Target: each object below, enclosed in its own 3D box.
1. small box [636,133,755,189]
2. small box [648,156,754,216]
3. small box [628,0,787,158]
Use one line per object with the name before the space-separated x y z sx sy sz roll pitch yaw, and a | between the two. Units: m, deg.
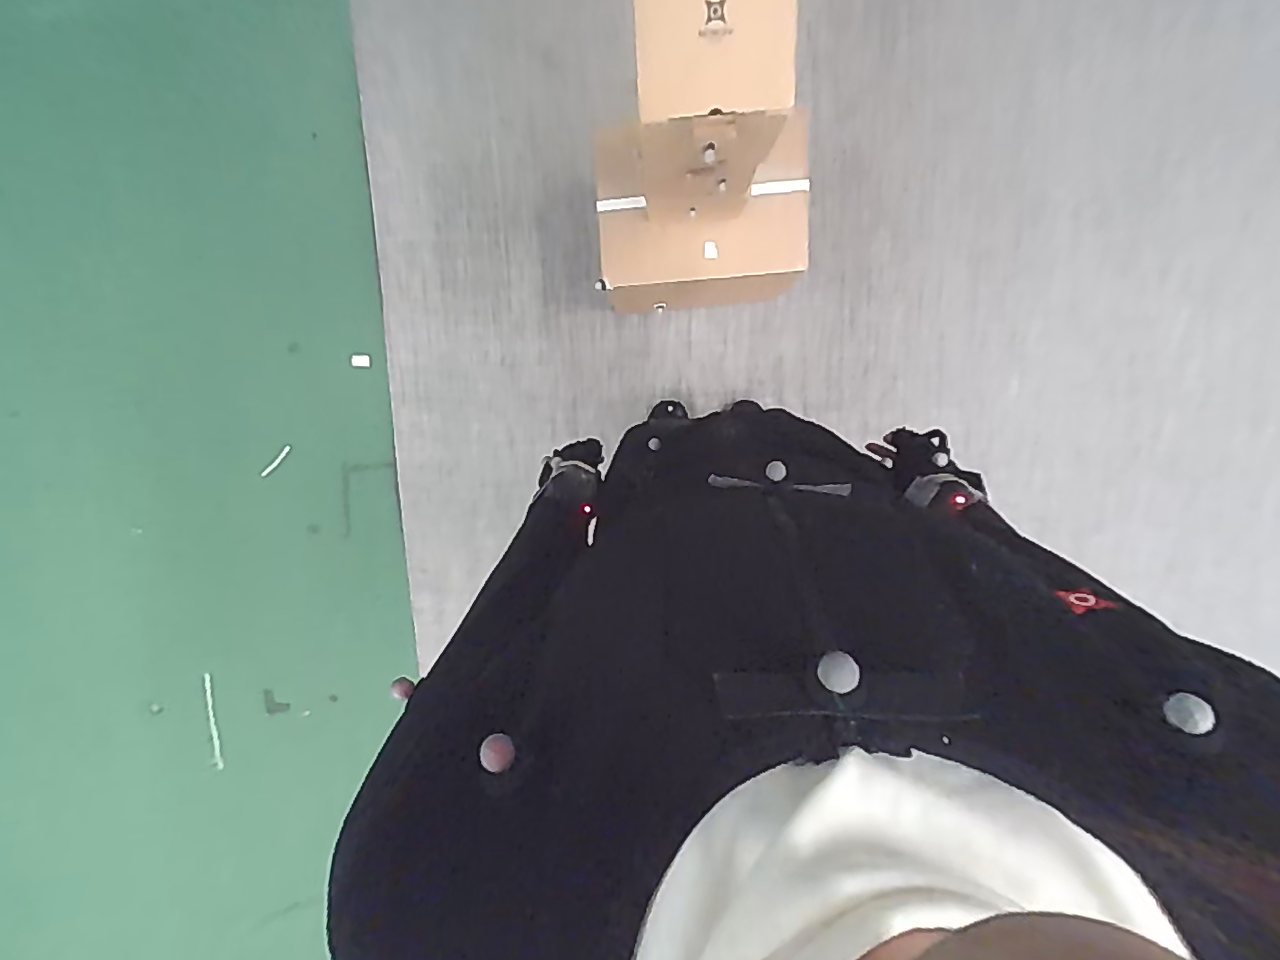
small box | 0.080 -0.540 0.791 0.168 0.176 0.179 -1 104 3
small box | 0.099 -0.574 0.948 0.179 0.176 0.168 -4 105 4
small box | 0.075 -0.495 0.634 0.168 0.176 0.179 -2 105 4
